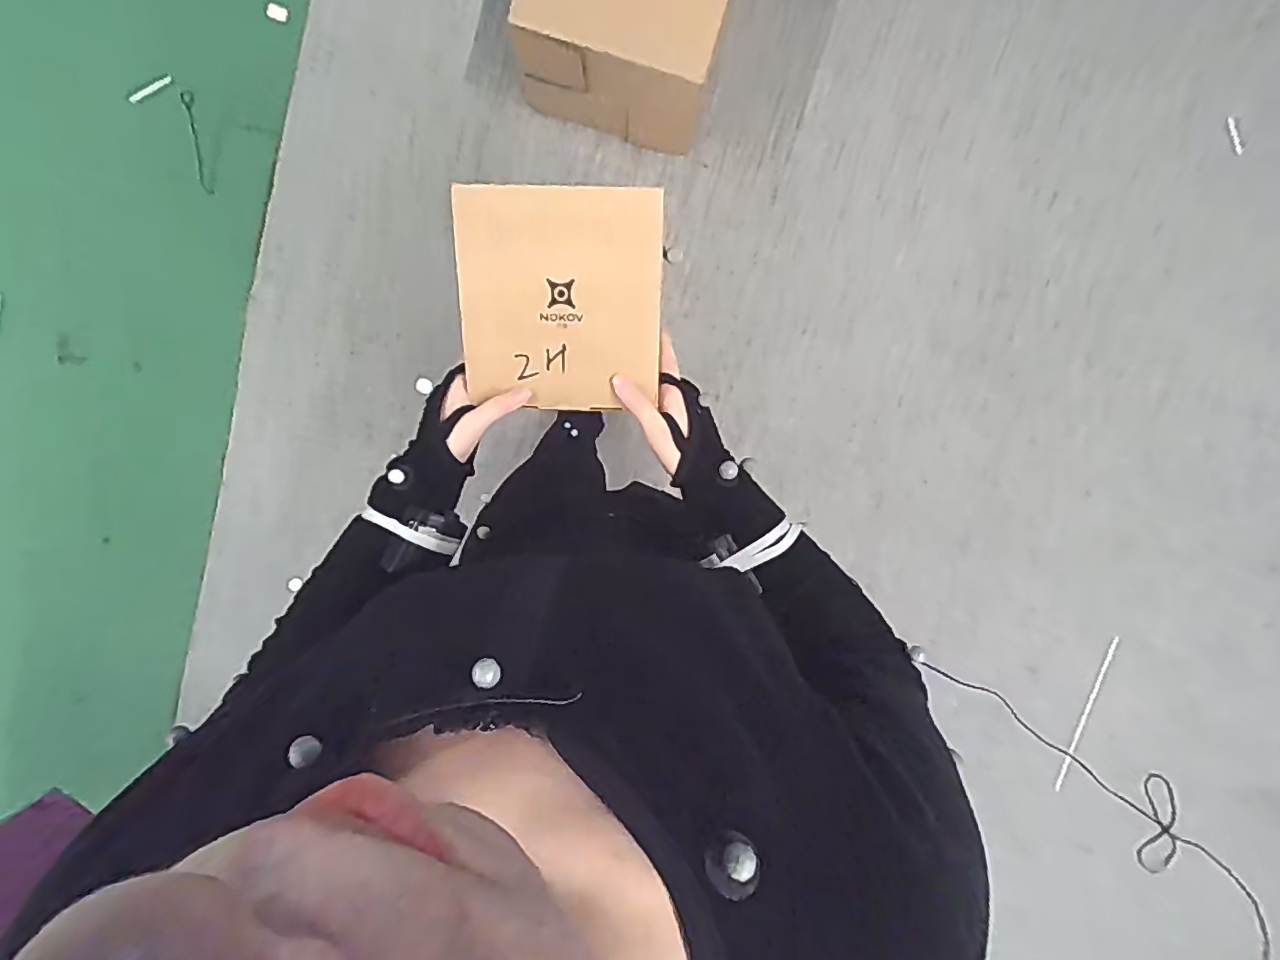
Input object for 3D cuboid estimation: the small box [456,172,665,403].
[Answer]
[{"bbox_3d":[-0.065,-0.177,0.520,0.168,0.176,0.179,2,109,1],"label":"small box"}]
